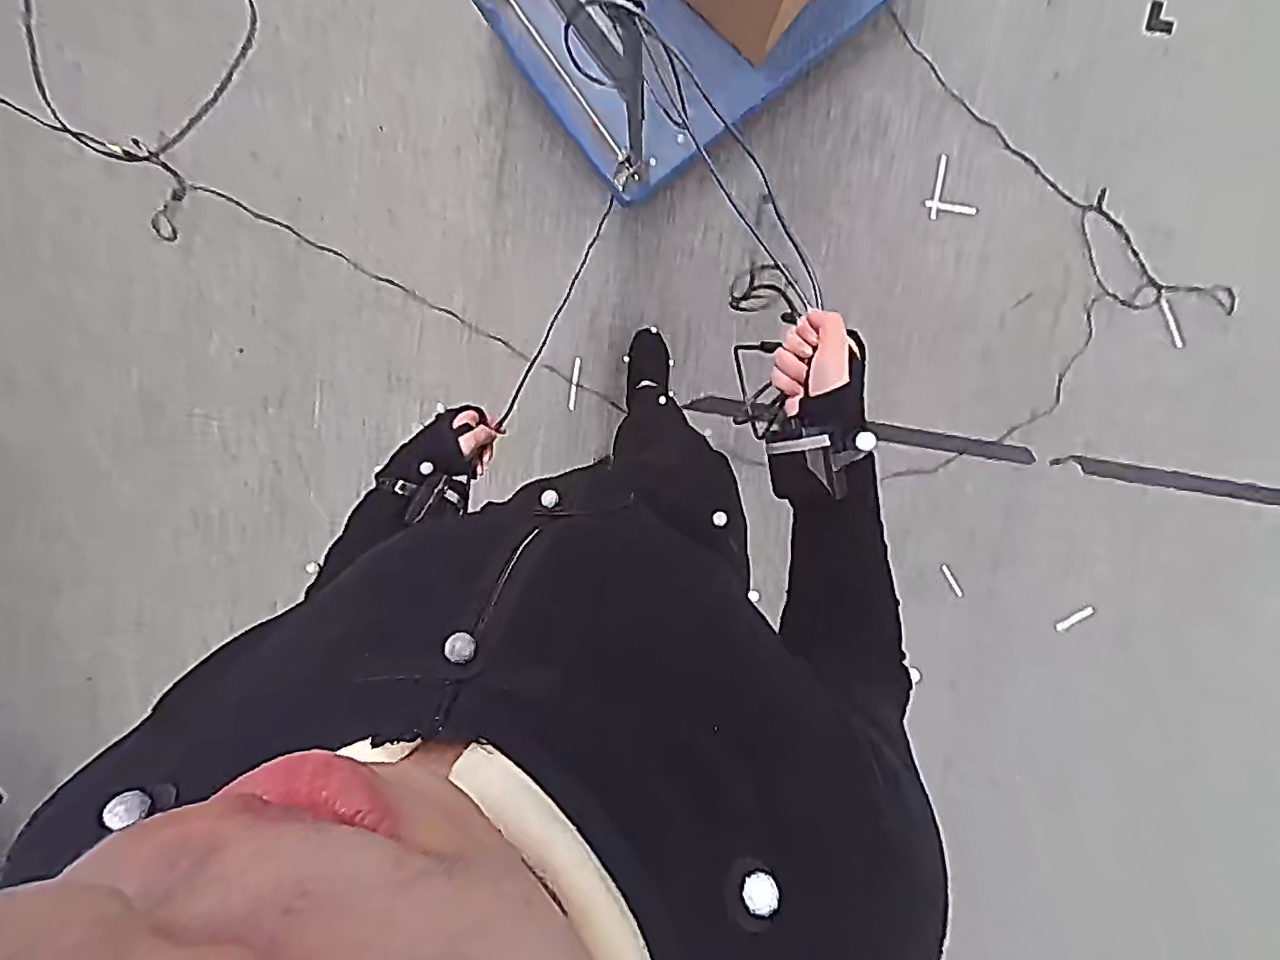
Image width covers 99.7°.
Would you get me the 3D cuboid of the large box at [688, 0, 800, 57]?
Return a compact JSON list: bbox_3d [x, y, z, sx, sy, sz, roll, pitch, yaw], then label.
[{"bbox_3d":[0.192,-1.125,0.992,0.408,0.320,0.320,37,97,-7],"label":"large box"}]
